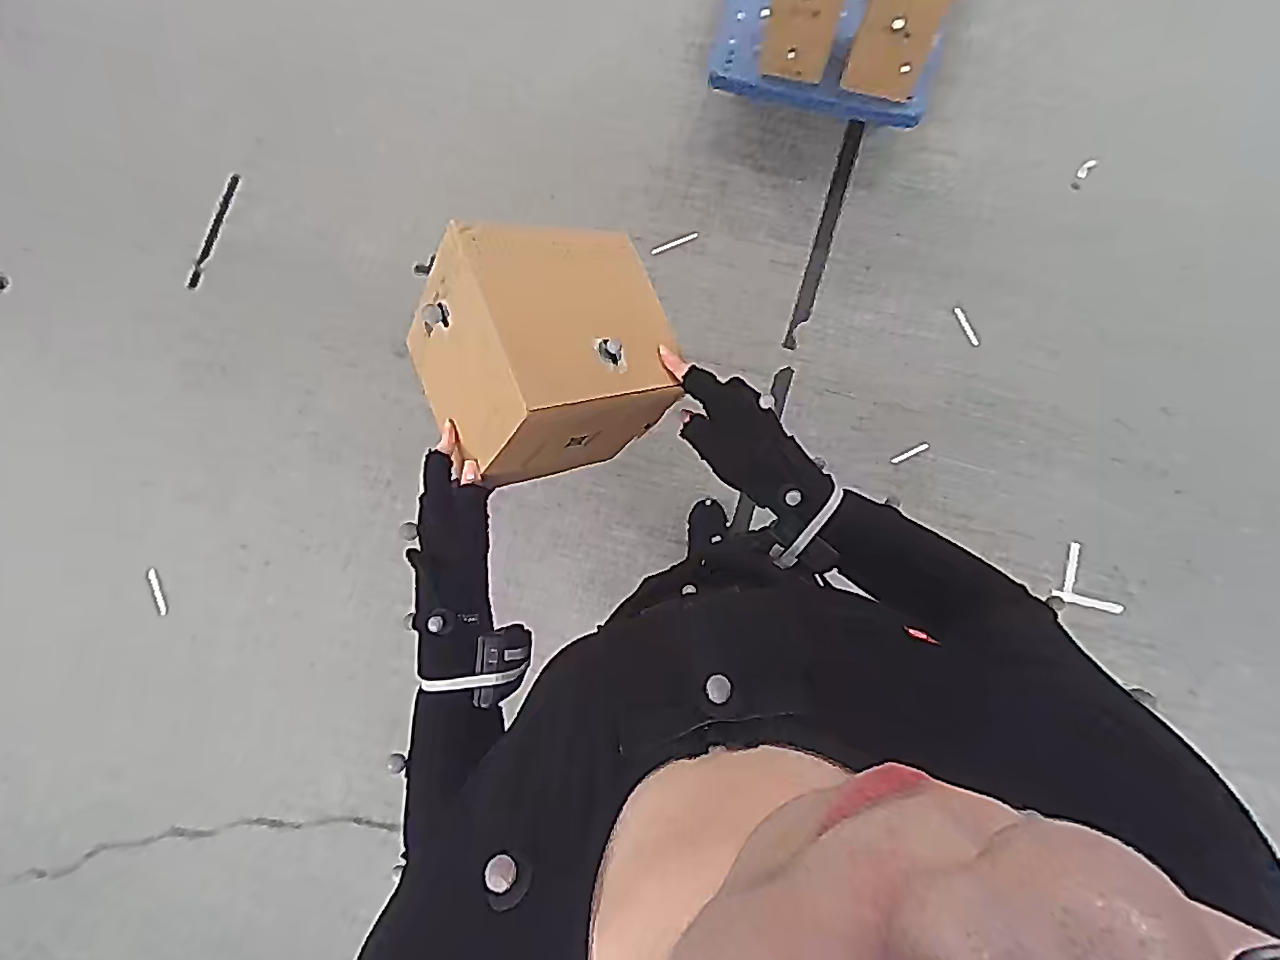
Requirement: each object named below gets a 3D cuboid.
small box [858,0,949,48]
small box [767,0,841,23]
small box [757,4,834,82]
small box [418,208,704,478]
[{"bbox_3d":[0.595,-1.100,1.171,0.168,0.176,0.179,18,86,6],"label":"small box"},{"bbox_3d":[0.385,-1.166,1.191,0.168,0.176,0.179,13,86,4],"label":"small box"},{"bbox_3d":[0.398,-1.150,1.355,0.168,0.176,0.179,14,85,4],"label":"small box"},{"bbox_3d":[-0.079,-0.122,0.501,0.179,0.168,0.176,-15,78,-38],"label":"small box"}]
